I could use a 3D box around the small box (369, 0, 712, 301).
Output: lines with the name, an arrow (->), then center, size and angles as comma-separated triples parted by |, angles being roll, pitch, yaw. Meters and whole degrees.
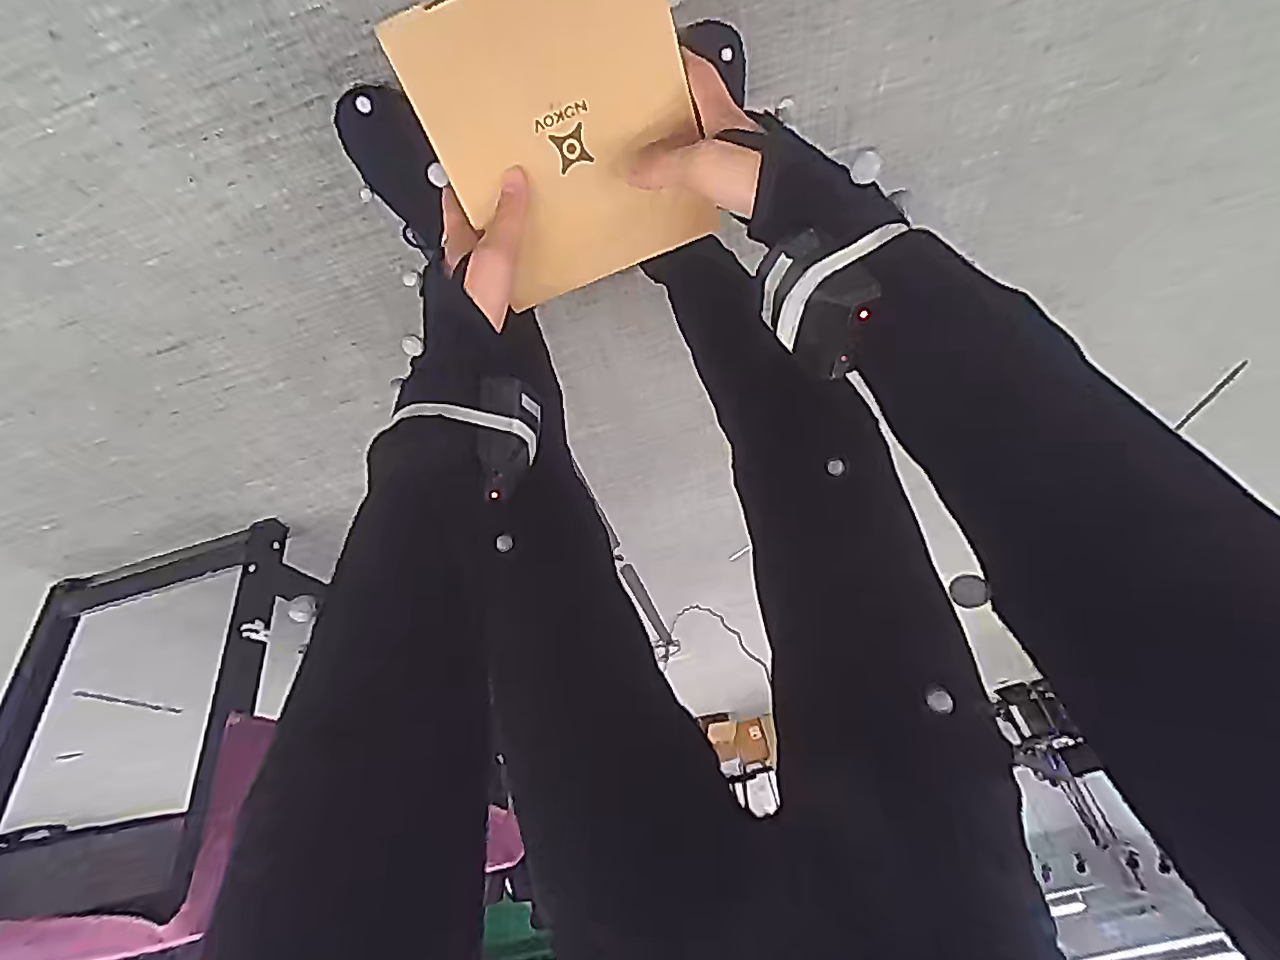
small box -> -0.060, -0.267, 0.409 | 0.168, 0.176, 0.179 | -21, 124, 4
